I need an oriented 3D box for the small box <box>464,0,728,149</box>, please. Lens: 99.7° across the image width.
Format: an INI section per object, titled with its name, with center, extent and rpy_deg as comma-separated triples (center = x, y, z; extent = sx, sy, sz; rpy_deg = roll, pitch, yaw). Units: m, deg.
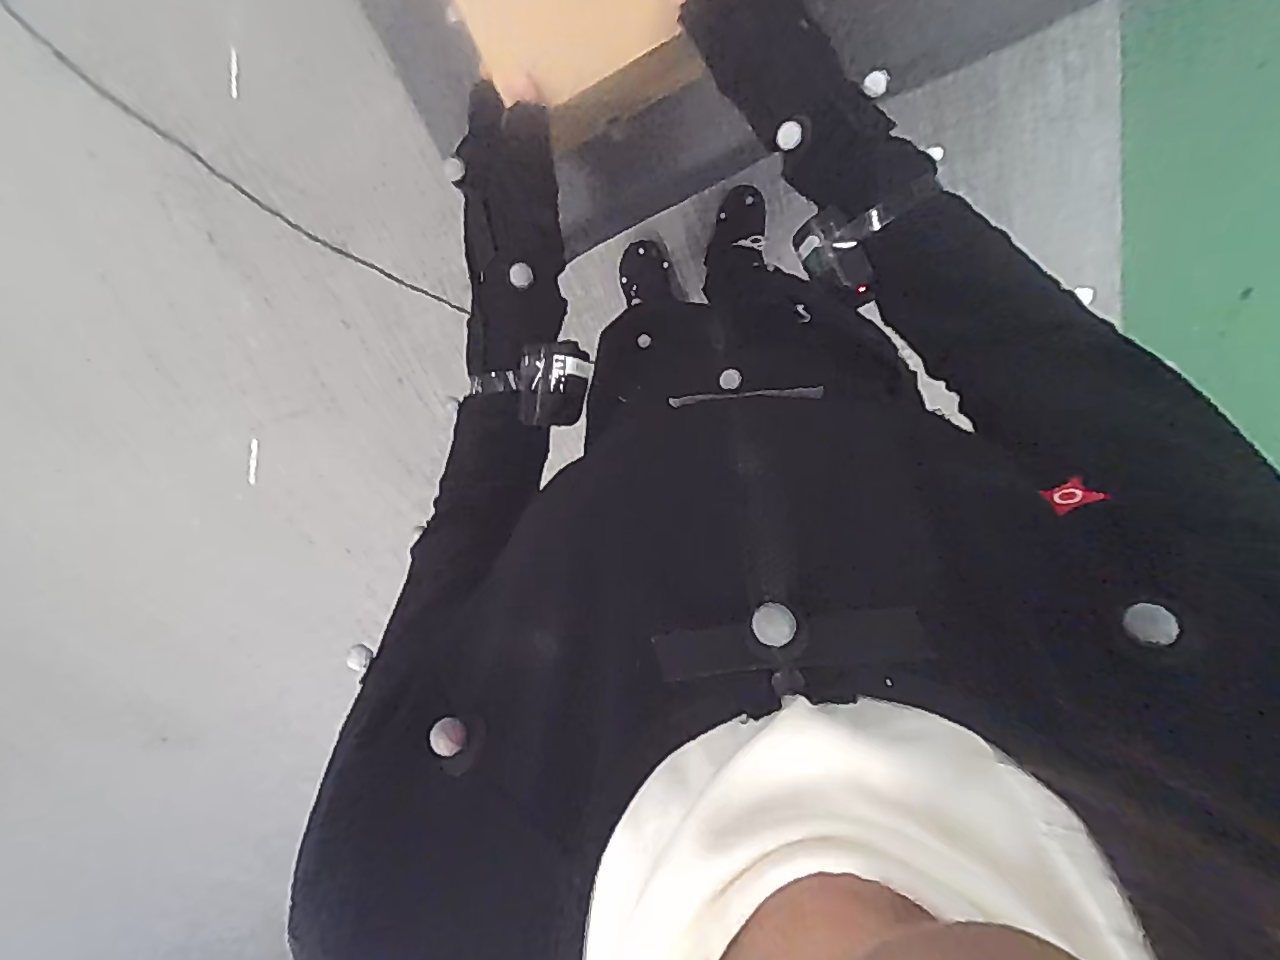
[small box]
center = -0.049, -0.392, 0.415
extent = 0.168, 0.176, 0.179
rpy_deg = -24, 112, 11
